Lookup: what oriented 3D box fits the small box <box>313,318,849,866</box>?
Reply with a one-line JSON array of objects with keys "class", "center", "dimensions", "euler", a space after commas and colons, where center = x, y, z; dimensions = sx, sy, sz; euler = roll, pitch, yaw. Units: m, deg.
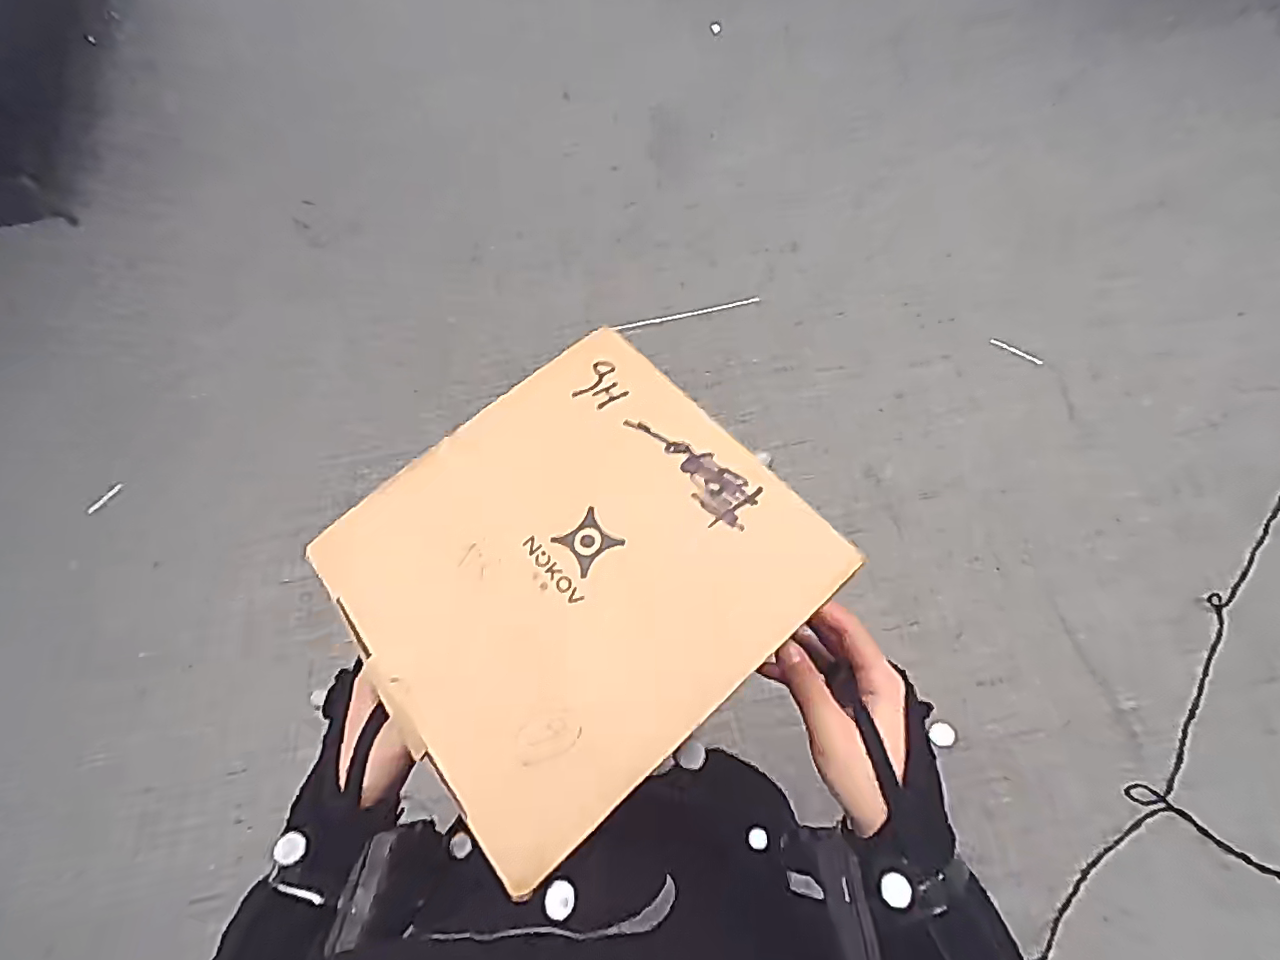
[{"class": "small box", "center": [-0.022, 0.057, 0.299], "dimensions": [0.179, 0.176, 0.168], "euler": [-40, 68, -11]}]
